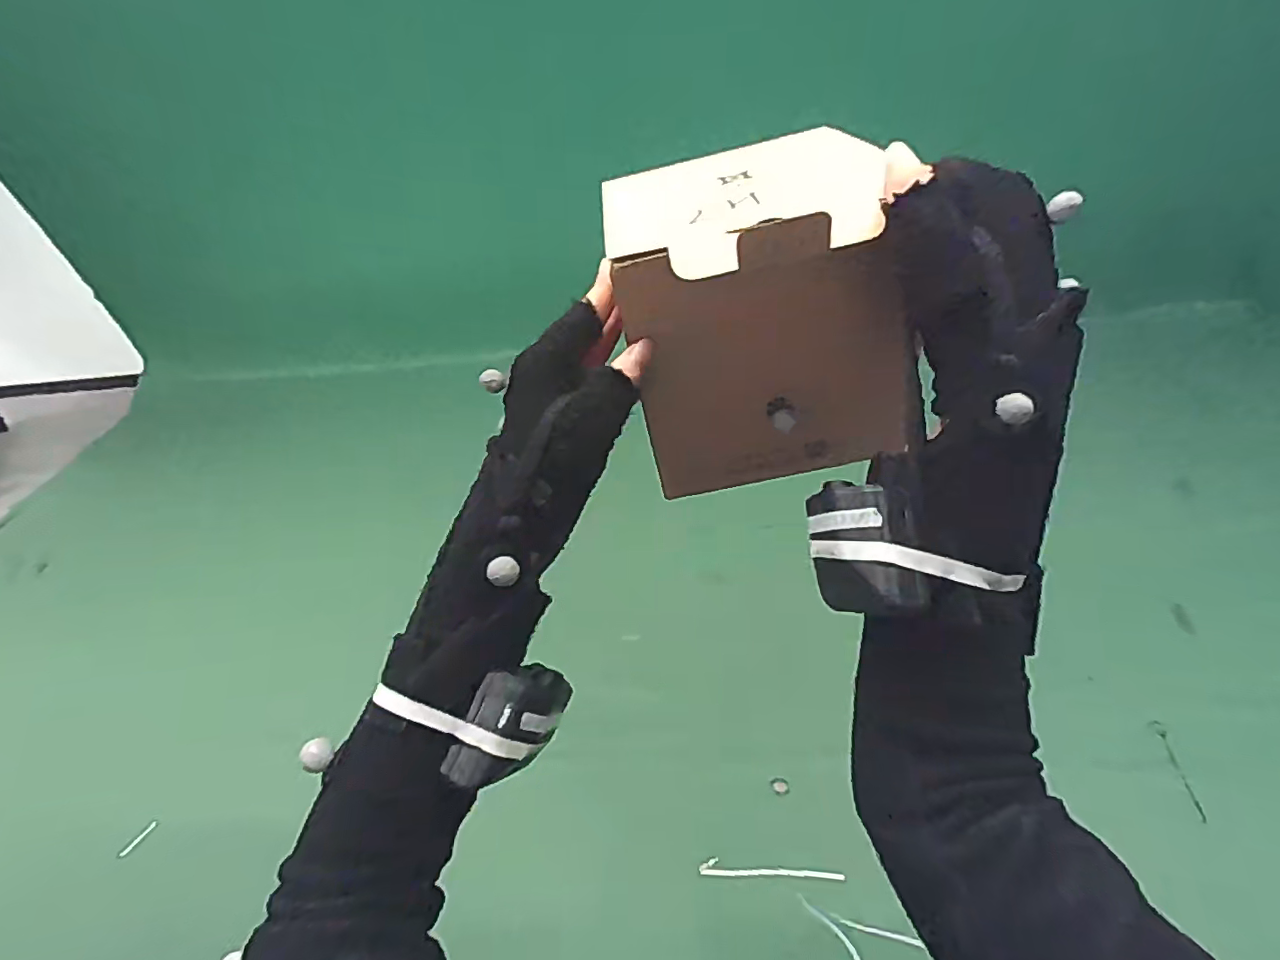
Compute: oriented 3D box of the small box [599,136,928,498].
[{"bbox_3d":[0.071,-0.114,0.380,0.168,0.176,0.179,-12,41,5],"label":"small box"}]
